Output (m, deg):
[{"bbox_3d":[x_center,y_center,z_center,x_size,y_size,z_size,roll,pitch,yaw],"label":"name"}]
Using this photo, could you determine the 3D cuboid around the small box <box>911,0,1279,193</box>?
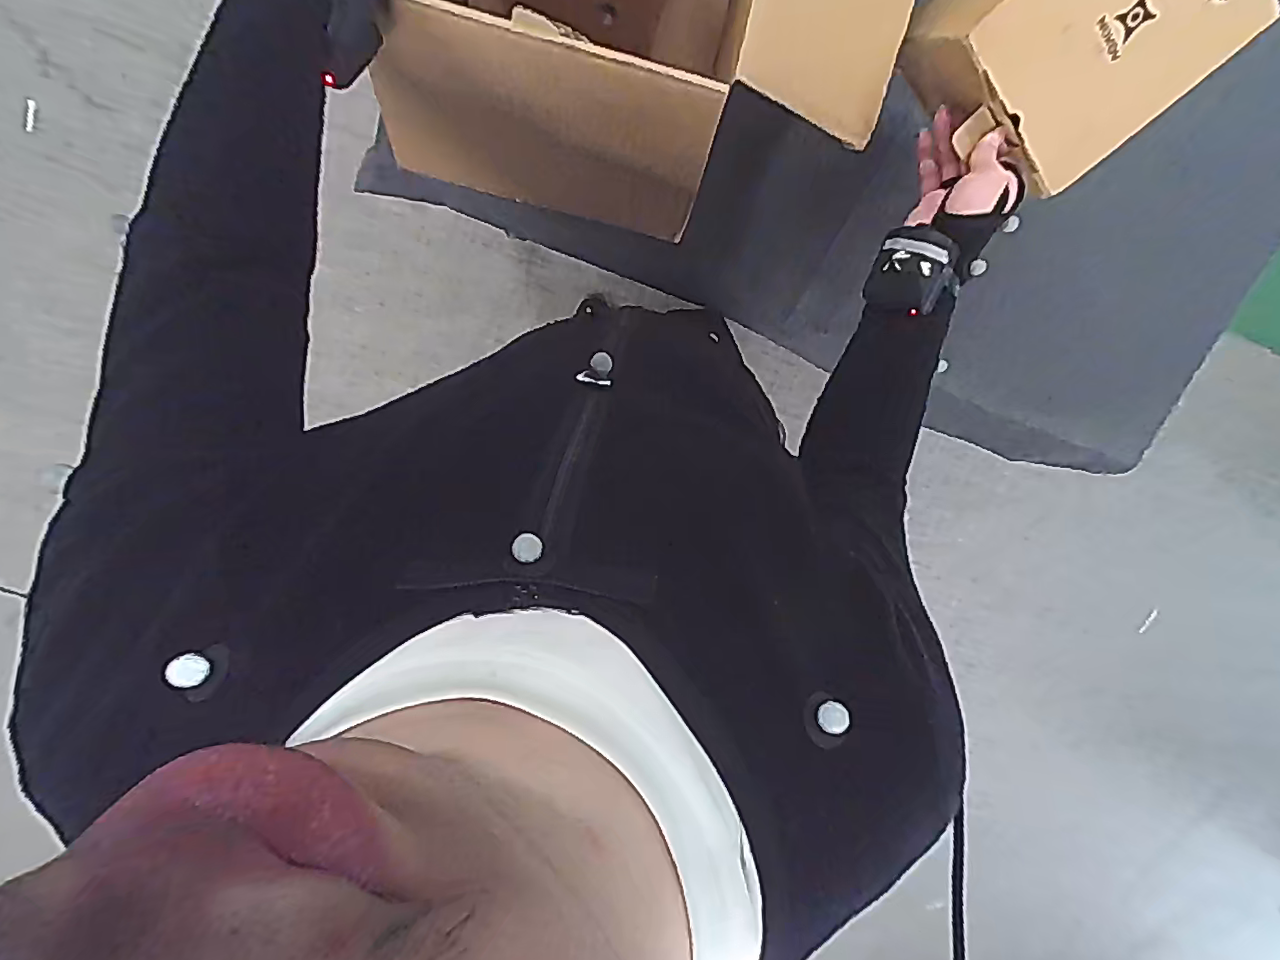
[{"bbox_3d":[0.369,-0.397,0.473,0.168,0.176,0.179,36,121,-25],"label":"small box"}]
